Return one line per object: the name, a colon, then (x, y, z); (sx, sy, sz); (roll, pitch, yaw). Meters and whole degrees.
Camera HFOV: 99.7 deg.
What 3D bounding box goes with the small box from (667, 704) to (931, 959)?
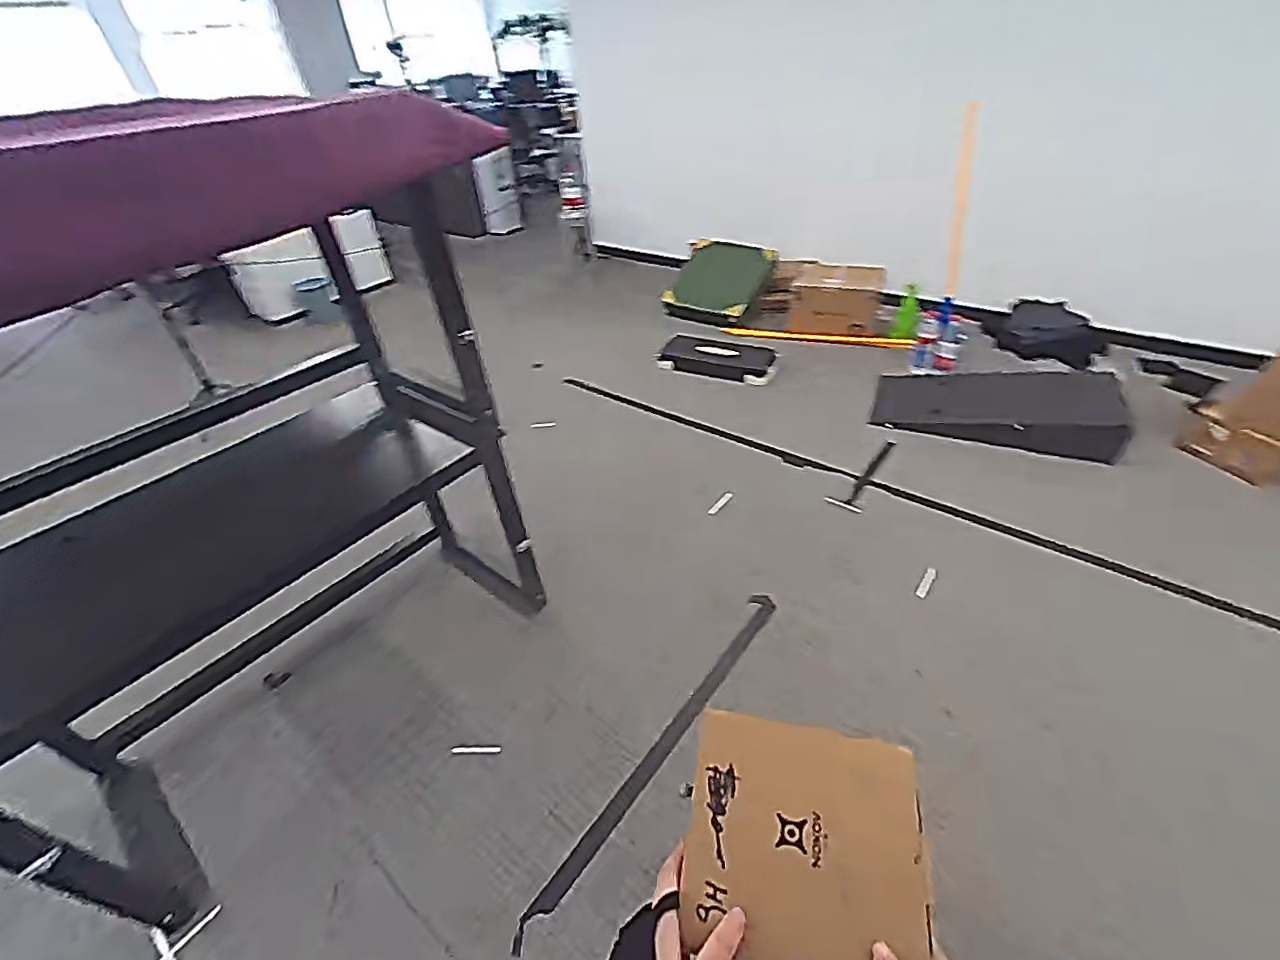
small box: (0.124, 0.319, 0.467); (0.179, 0.176, 0.168); (6, 48, 11)
